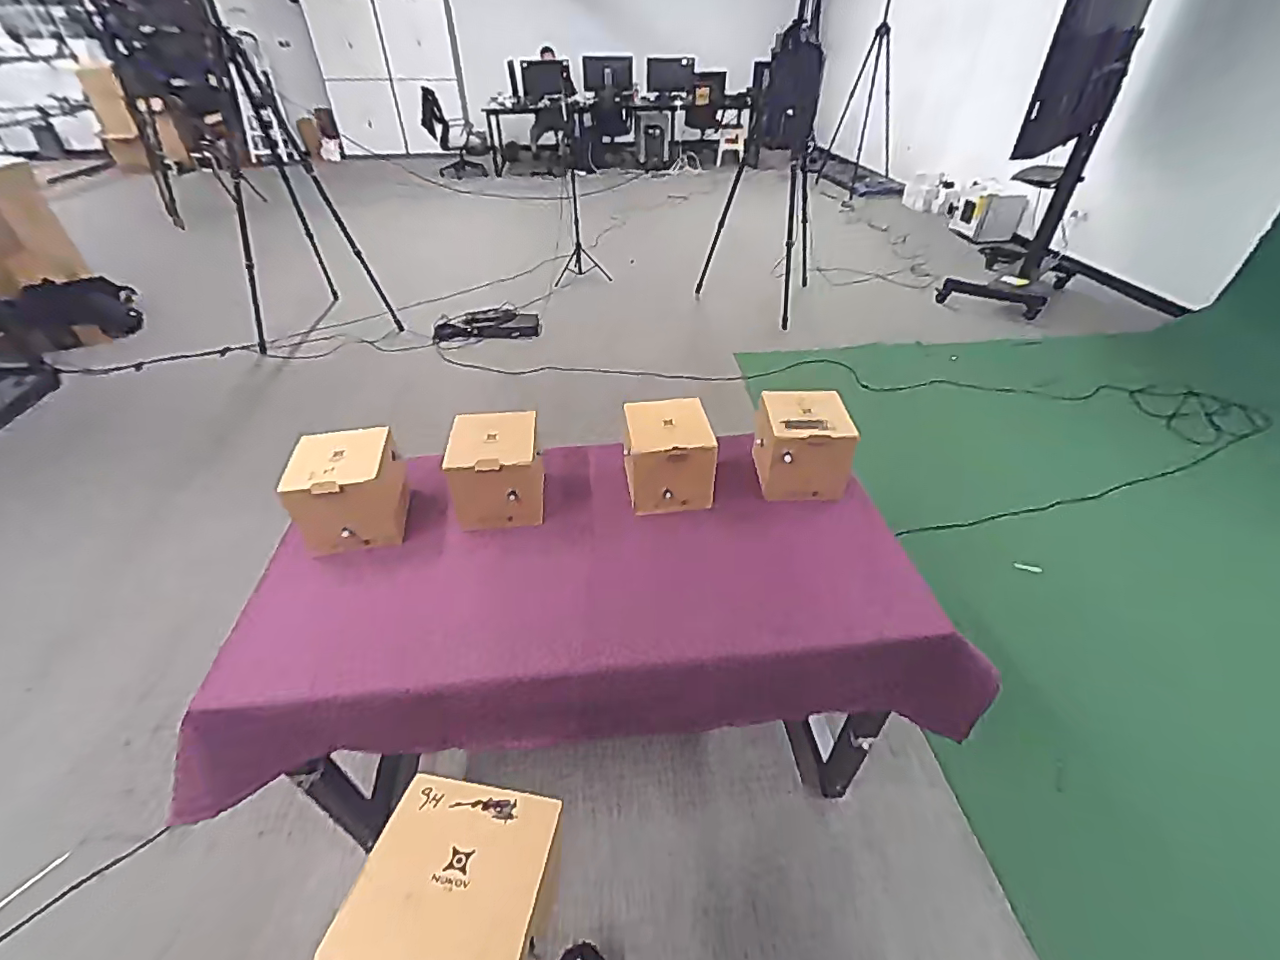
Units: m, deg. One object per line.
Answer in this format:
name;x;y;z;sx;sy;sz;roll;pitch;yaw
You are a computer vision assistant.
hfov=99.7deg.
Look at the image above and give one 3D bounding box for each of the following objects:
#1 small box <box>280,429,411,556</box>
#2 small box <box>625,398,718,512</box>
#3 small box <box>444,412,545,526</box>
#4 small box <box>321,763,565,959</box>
small box;-0.563;0.023;1.063;0.168;0.176;0.179;-8;41;-8
small box;0.058;-0.053;1.143;0.168;0.176;0.179;-6;41;-6
small box;-0.287;-0.018;1.108;0.168;0.176;0.179;-3;40;-5
small box;-0.177;0.430;0.544;0.168;0.176;0.179;9;26;4
